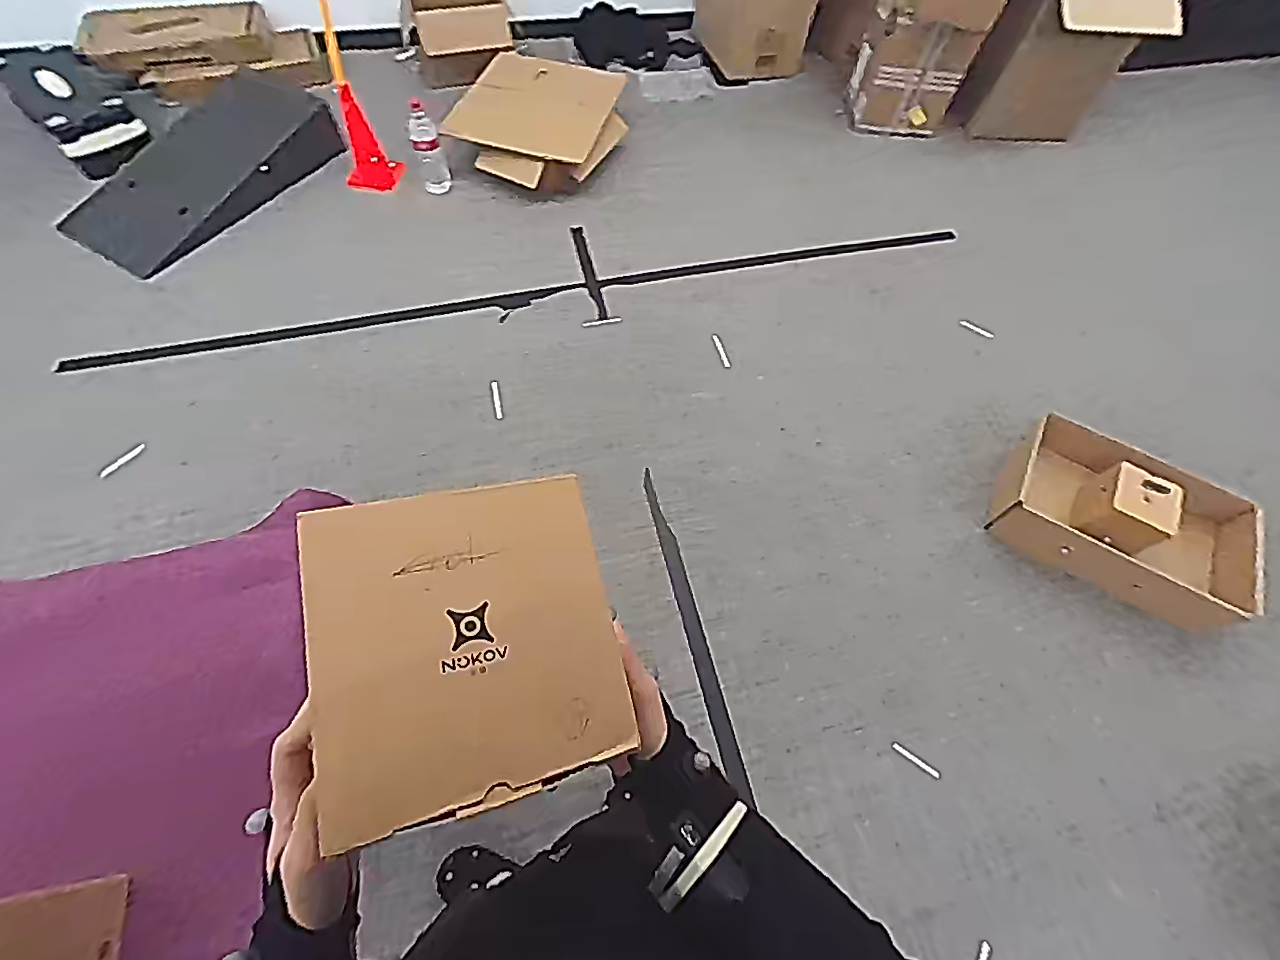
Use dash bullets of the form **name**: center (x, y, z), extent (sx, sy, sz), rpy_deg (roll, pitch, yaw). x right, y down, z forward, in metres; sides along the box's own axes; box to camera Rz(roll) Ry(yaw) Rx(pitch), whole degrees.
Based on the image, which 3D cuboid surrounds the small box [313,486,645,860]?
- **small box**: center (-0.115, 0.123, 0.382), extent (0.168, 0.176, 0.179), rpy_deg (-8, 70, -22)

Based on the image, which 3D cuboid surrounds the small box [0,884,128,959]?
- **small box**: center (-0.588, 0.467, 0.447), extent (0.179, 0.176, 0.168), rpy_deg (-12, 63, -10)

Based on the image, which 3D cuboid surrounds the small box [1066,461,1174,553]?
- **small box**: center (1.389, 0.083, 1.573), extent (0.168, 0.176, 0.179), rpy_deg (29, 64, 12)
